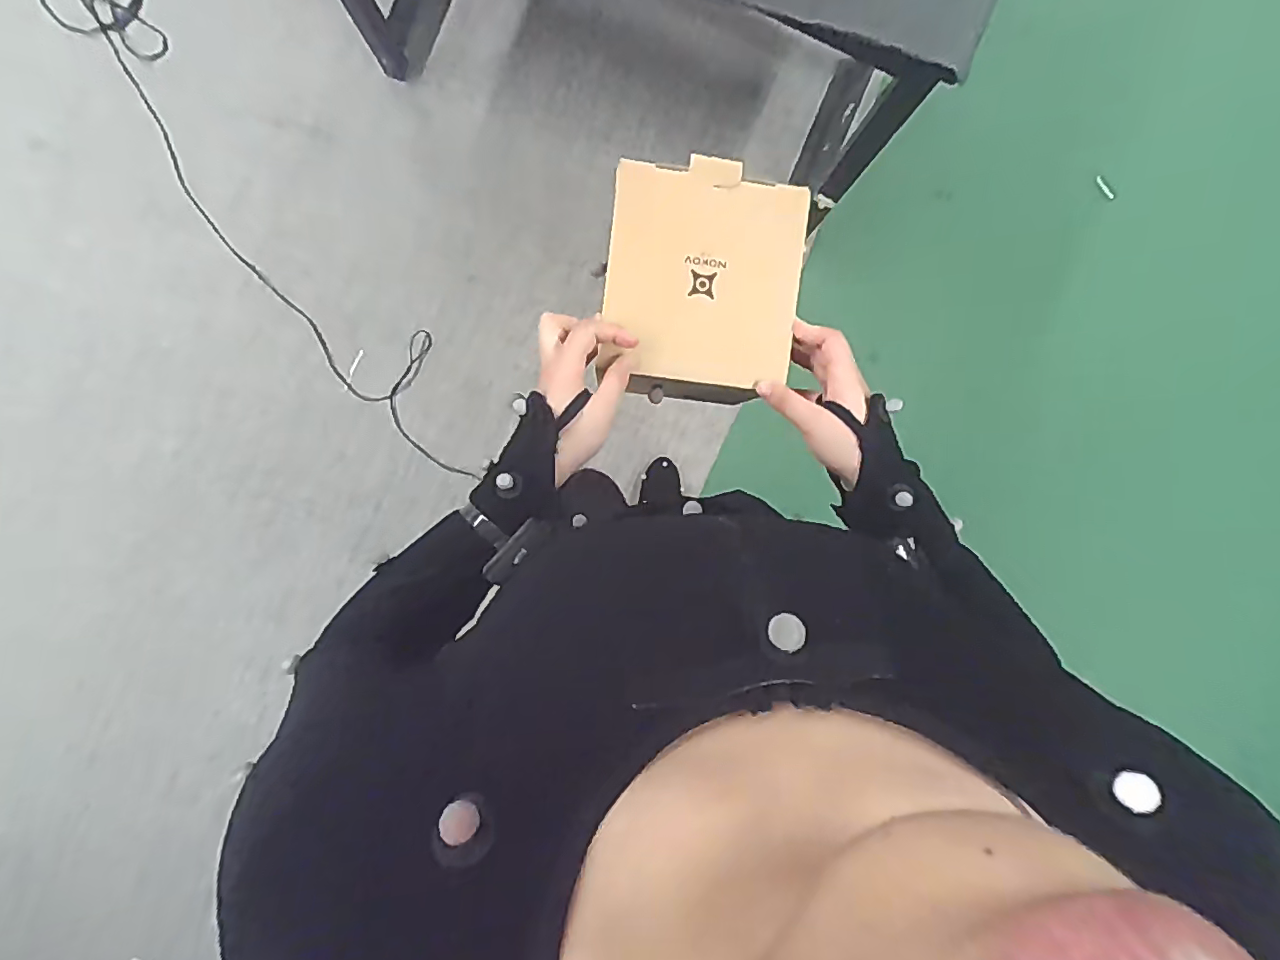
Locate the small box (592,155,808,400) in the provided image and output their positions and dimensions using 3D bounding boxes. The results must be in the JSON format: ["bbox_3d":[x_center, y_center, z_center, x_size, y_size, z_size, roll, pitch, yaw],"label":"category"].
[{"bbox_3d":[0.047,-0.177,0.530,0.168,0.176,0.179,6,92,-3],"label":"small box"}]
